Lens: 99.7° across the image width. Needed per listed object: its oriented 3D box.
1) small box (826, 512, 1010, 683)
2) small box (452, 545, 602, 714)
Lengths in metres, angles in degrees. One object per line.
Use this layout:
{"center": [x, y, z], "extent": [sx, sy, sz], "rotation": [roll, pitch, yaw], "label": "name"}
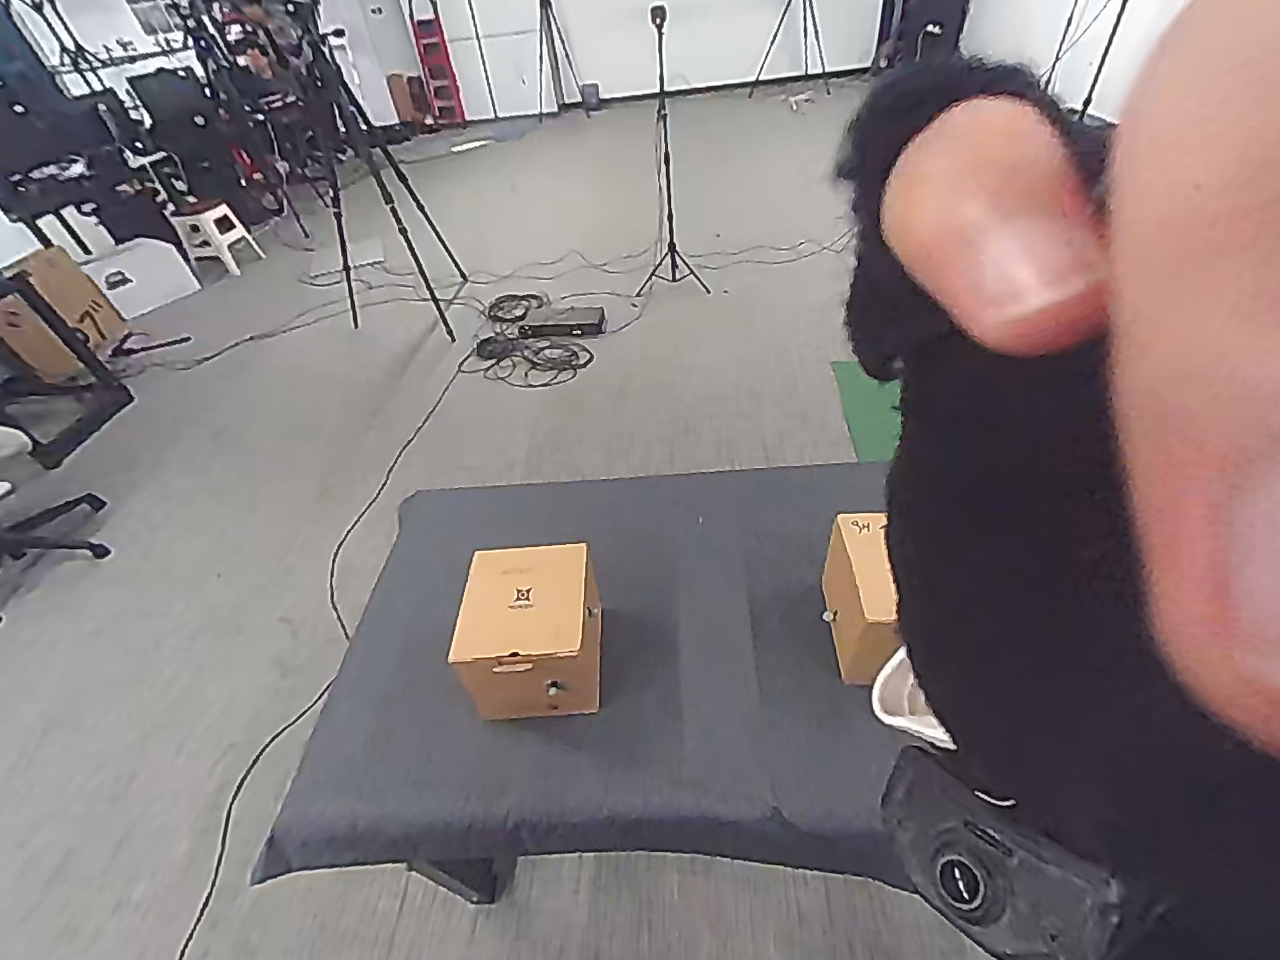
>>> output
{"center": [0.364, 0.166, 0.748], "extent": [0.168, 0.176, 0.179], "rotation": [-2, 44, 6], "label": "small box"}
{"center": [-0.145, 0.217, 0.768], "extent": [0.168, 0.176, 0.179], "rotation": [-4, 42, 1], "label": "small box"}
